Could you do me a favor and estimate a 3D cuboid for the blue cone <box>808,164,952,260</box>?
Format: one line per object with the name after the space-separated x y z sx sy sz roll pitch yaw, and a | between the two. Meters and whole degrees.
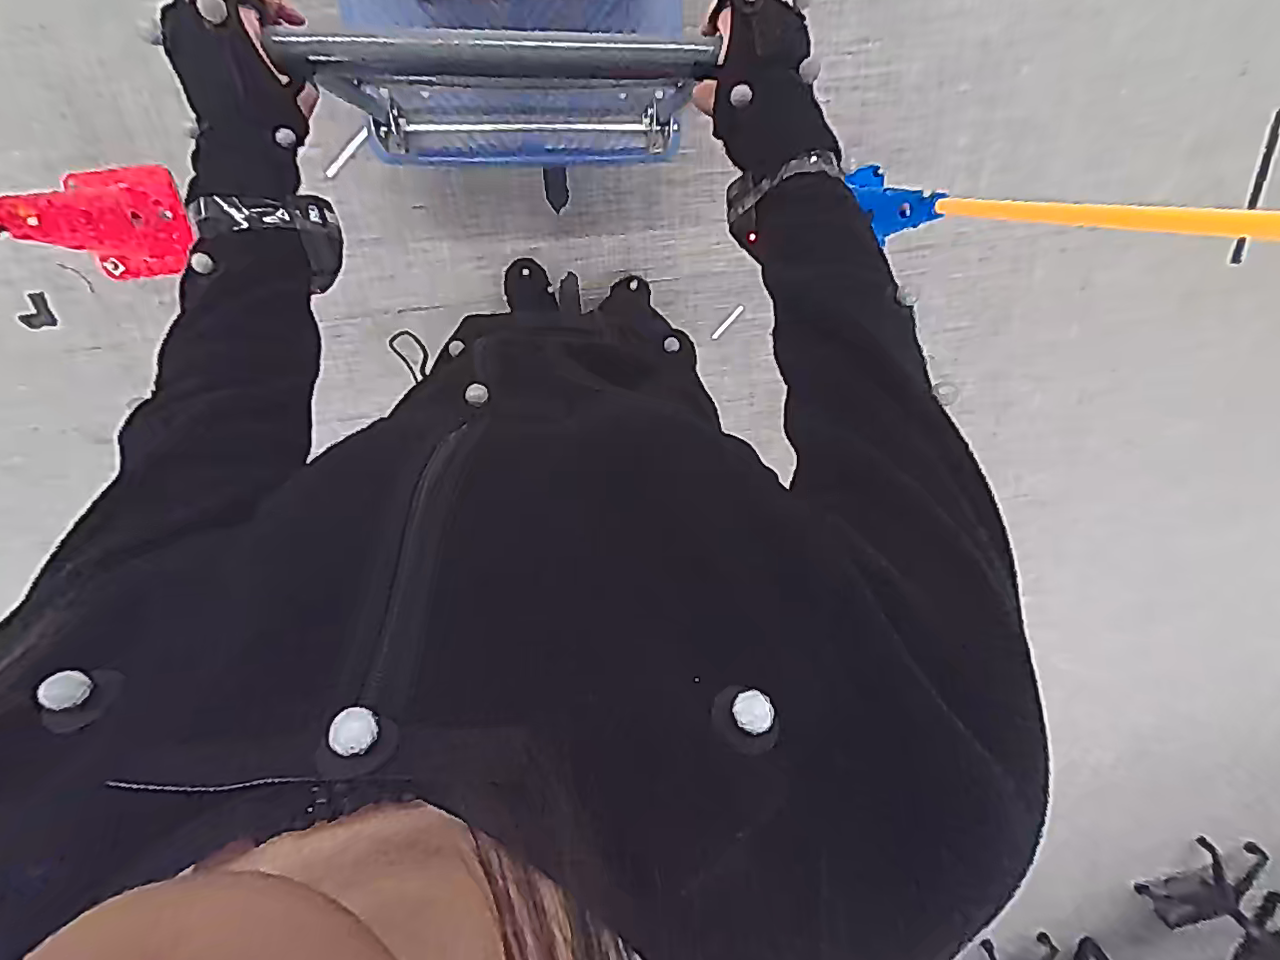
0.522 -0.578 1.147 0.193 0.380 0.192 -12 113 -4 | blue cone
